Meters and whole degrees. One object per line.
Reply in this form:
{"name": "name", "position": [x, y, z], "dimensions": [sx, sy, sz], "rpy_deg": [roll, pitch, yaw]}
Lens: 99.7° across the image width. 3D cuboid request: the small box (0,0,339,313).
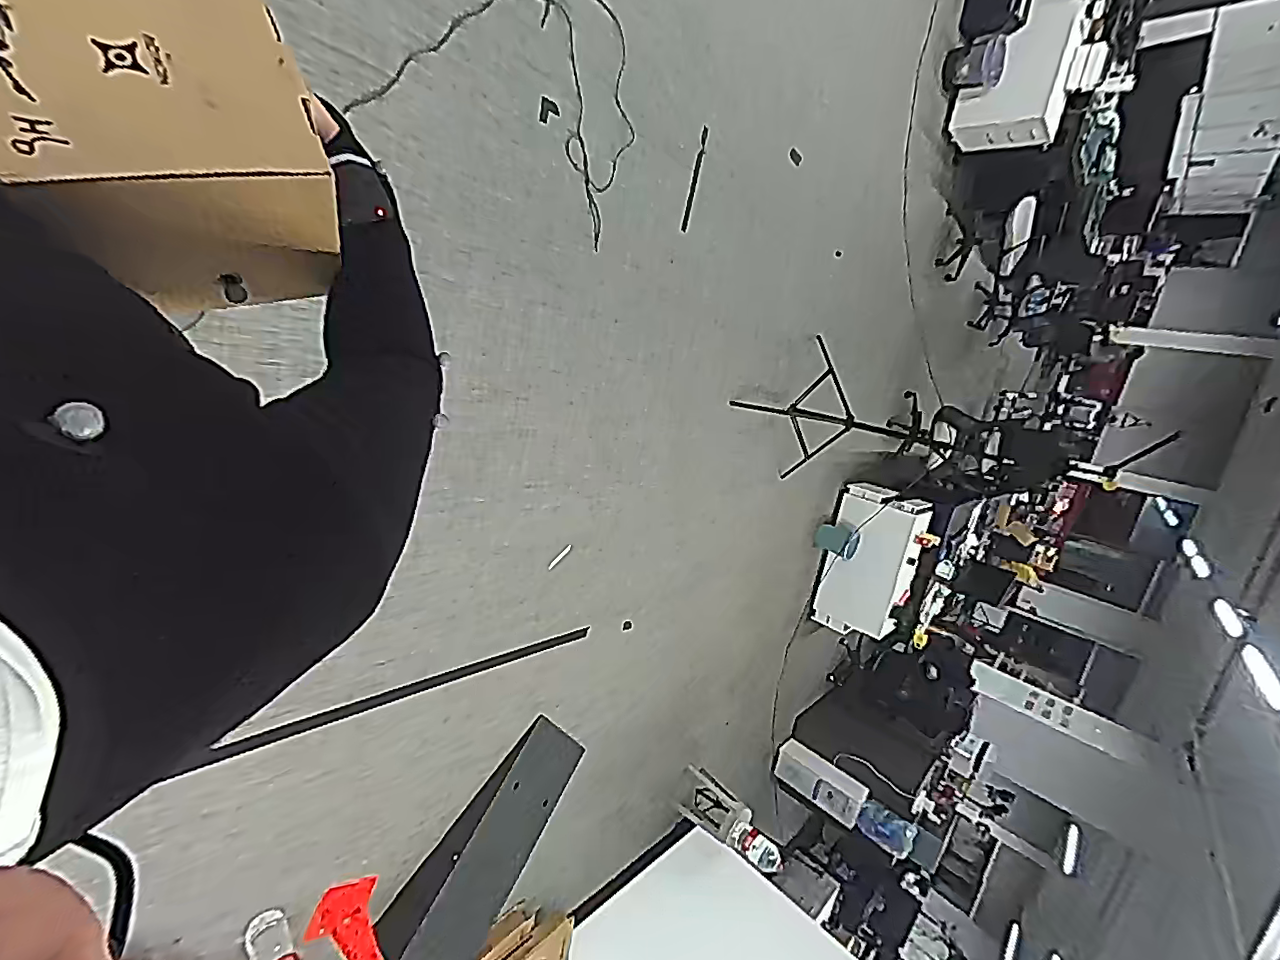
{"name": "small box", "position": [-0.360, -0.255, 0.431], "dimensions": [0.179, 0.176, 0.168], "rpy_deg": [-21, 87, -29]}
